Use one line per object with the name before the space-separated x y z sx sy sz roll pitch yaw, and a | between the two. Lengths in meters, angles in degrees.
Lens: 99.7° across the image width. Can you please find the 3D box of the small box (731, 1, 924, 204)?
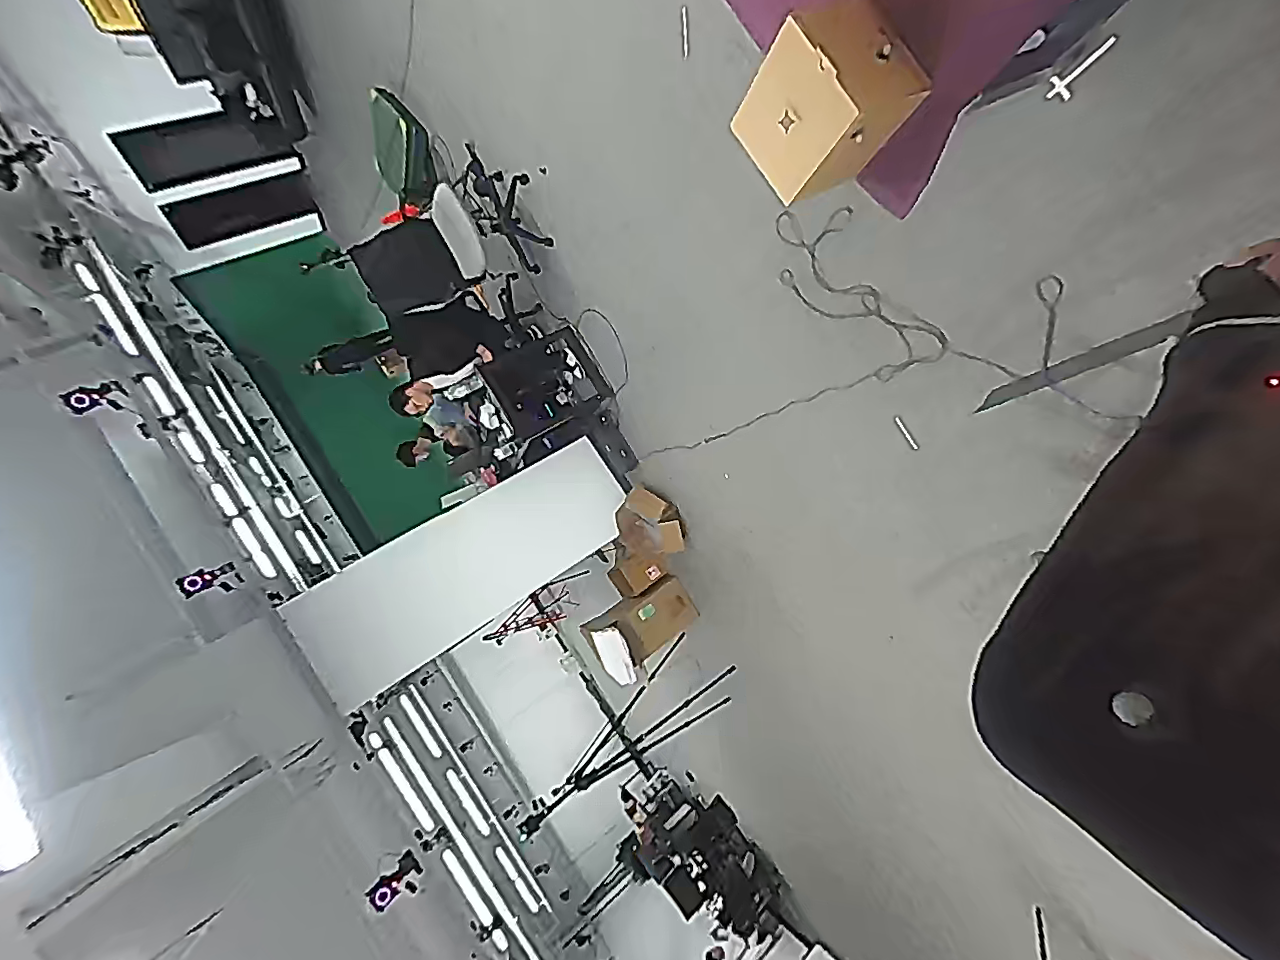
small box | 0.275 -0.559 0.808 0.168 0.176 0.179 57 156 3
